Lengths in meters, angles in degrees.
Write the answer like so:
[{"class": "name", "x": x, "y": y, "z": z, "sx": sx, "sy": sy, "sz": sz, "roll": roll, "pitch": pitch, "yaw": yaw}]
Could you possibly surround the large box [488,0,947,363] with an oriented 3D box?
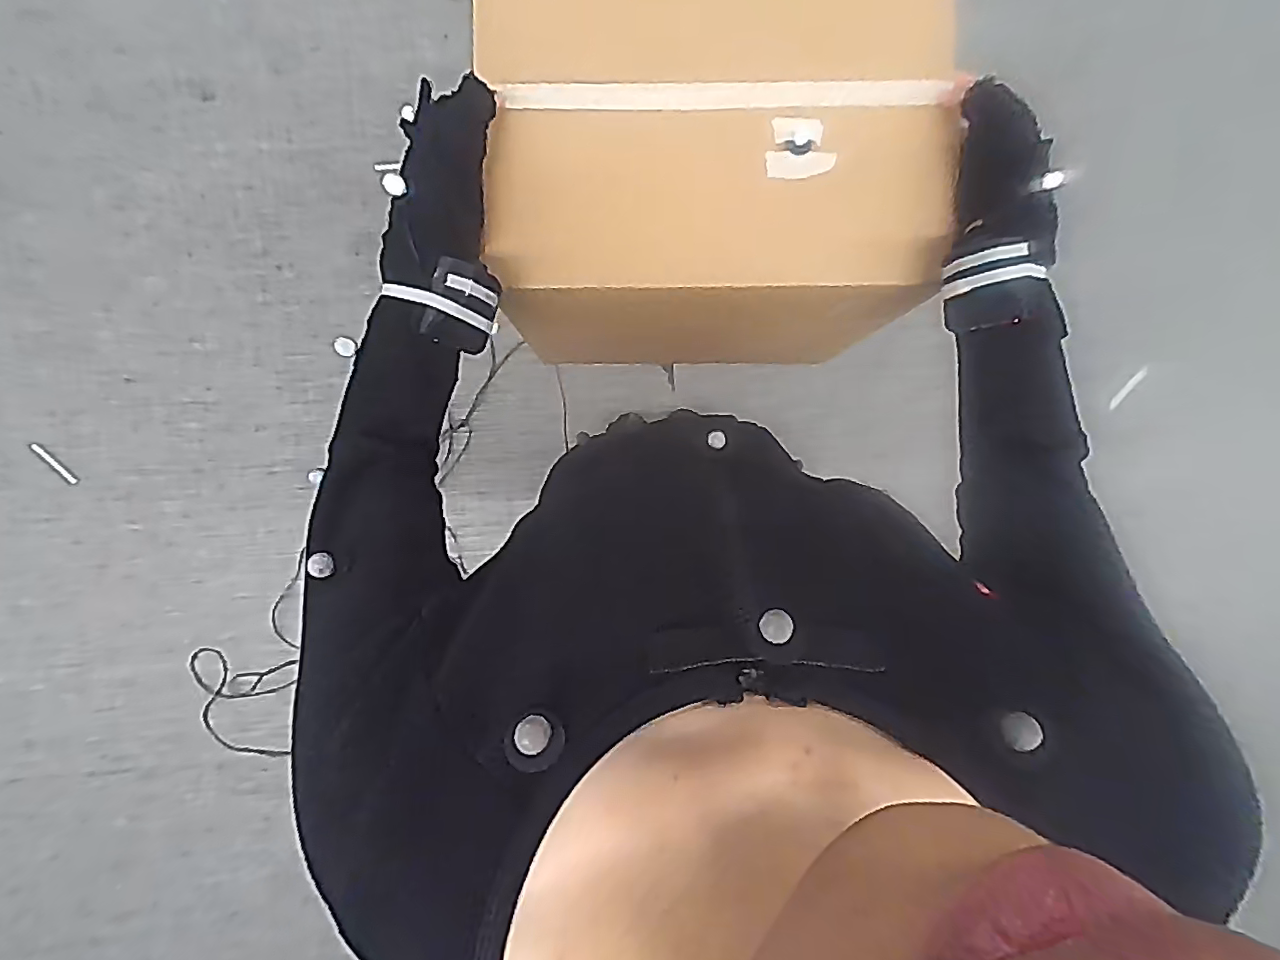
[{"class": "large box", "x": 0.064, "y": -0.325, "z": 0.621, "sx": 0.408, "sy": 0.320, "sz": 0.320, "roll": -1, "pitch": 90, "yaw": -1}]
